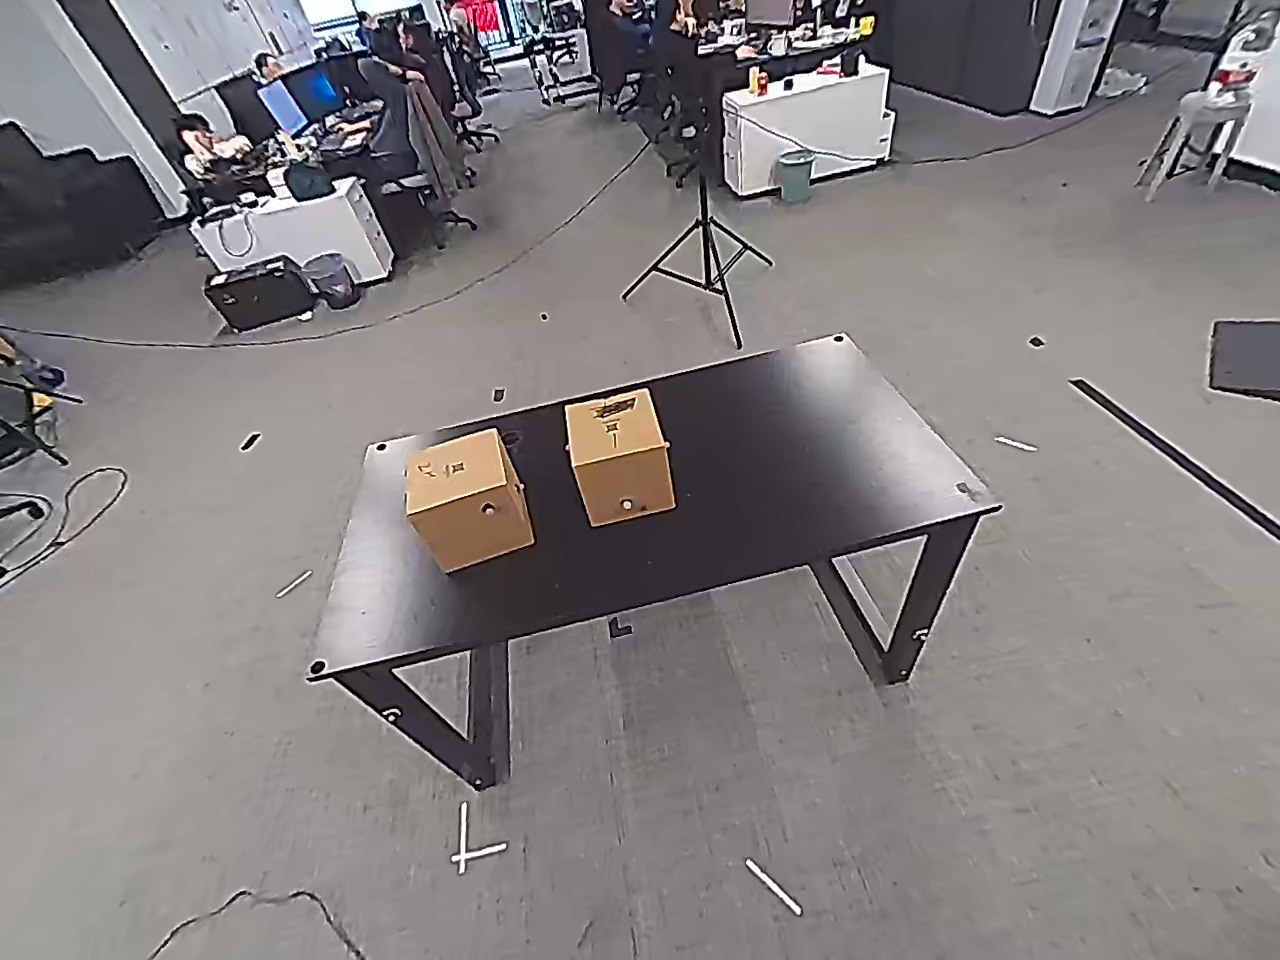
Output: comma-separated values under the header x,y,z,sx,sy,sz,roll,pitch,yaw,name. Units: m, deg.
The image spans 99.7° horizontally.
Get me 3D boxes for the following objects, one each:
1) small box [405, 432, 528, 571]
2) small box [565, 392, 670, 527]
x,y,z,sx,sy,sz,roll,pitch,yaw,name
-0.321,0.042,1.019,0.179,0.176,0.168,-19,45,-6,small box
-0.043,-0.038,1.039,0.168,0.176,0.179,-13,46,0,small box
